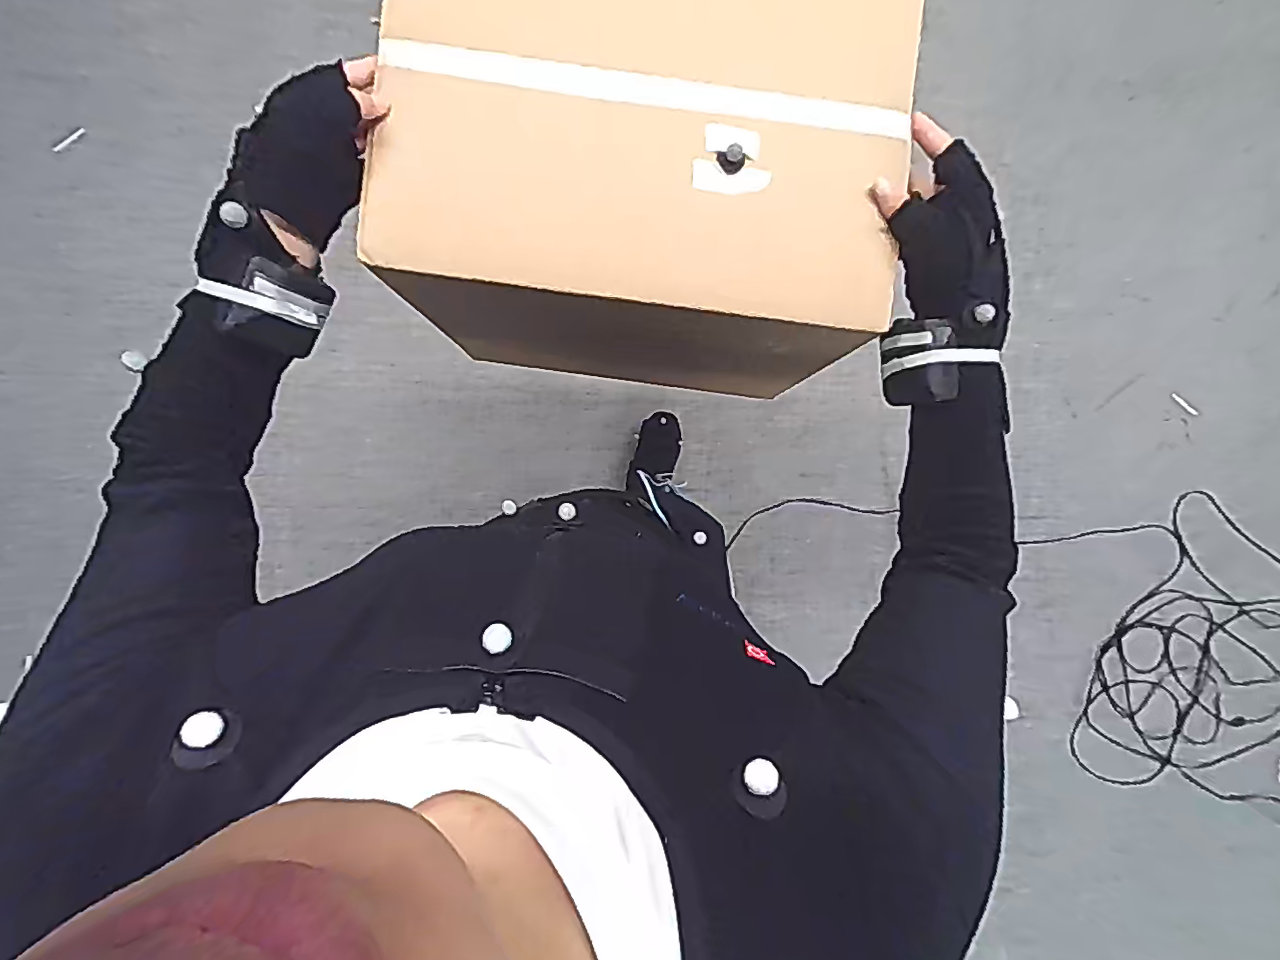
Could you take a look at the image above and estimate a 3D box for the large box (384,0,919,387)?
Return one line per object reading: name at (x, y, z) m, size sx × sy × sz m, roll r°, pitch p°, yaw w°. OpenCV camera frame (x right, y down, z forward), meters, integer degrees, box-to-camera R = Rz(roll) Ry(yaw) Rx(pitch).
large box at (0.008, -0.297, 0.571) m, size 0.408 × 0.320 × 0.320 m, roll 7°, pitch 90°, yaw -2°
